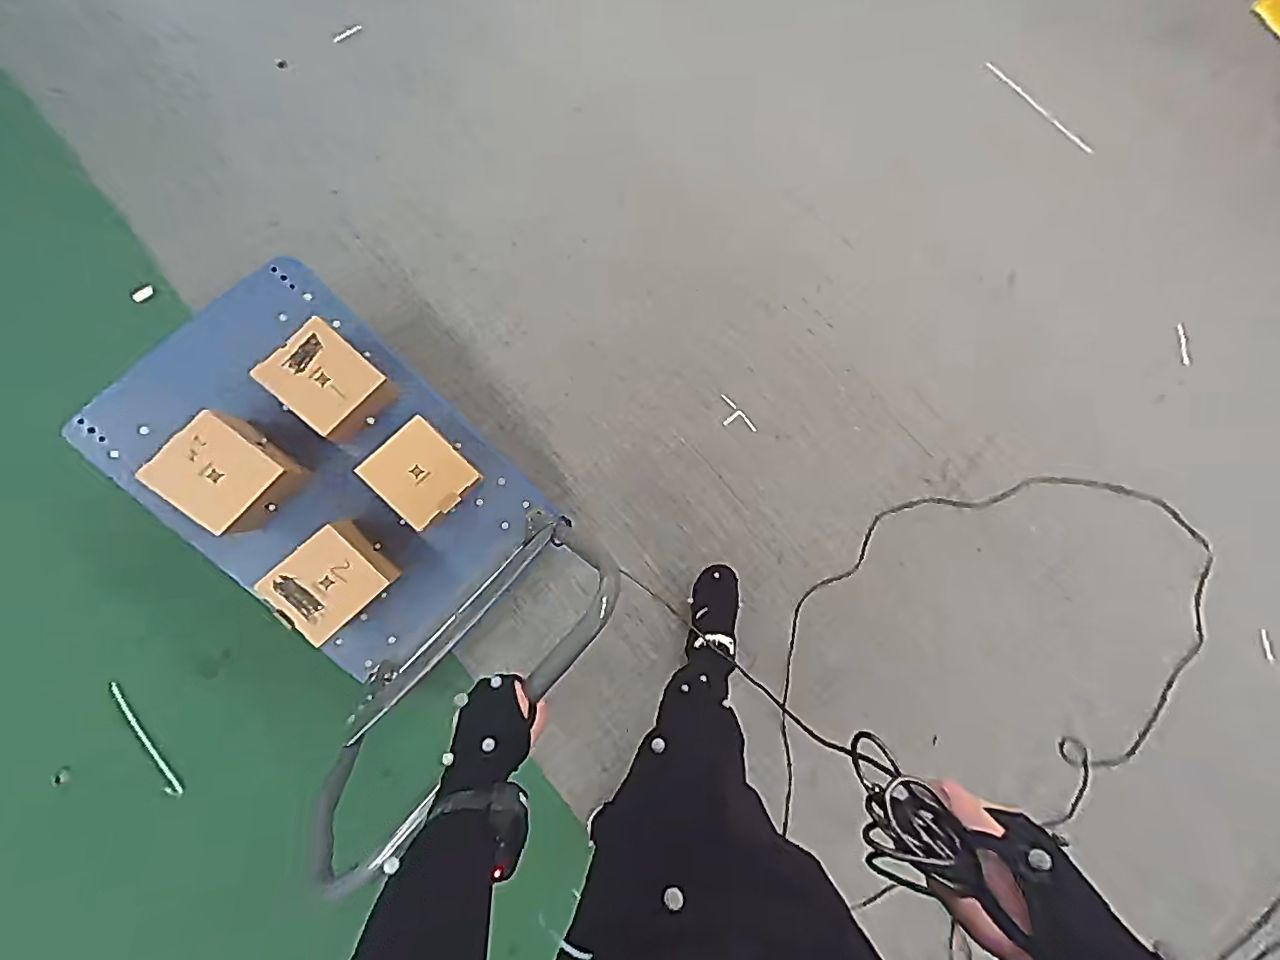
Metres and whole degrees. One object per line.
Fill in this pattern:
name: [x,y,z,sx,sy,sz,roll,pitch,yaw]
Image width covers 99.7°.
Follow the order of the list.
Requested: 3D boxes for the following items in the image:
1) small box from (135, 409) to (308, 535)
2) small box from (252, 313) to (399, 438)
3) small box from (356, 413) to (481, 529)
small box: [-0.800,-0.015,1.060,0.179,0.176,0.168,42,78,-10]
small box: [-0.630,-0.202,1.110,0.179,0.176,0.168,44,79,-10]
small box: [-0.460,-0.014,1.152,0.168,0.176,0.179,-45,100,-12]
